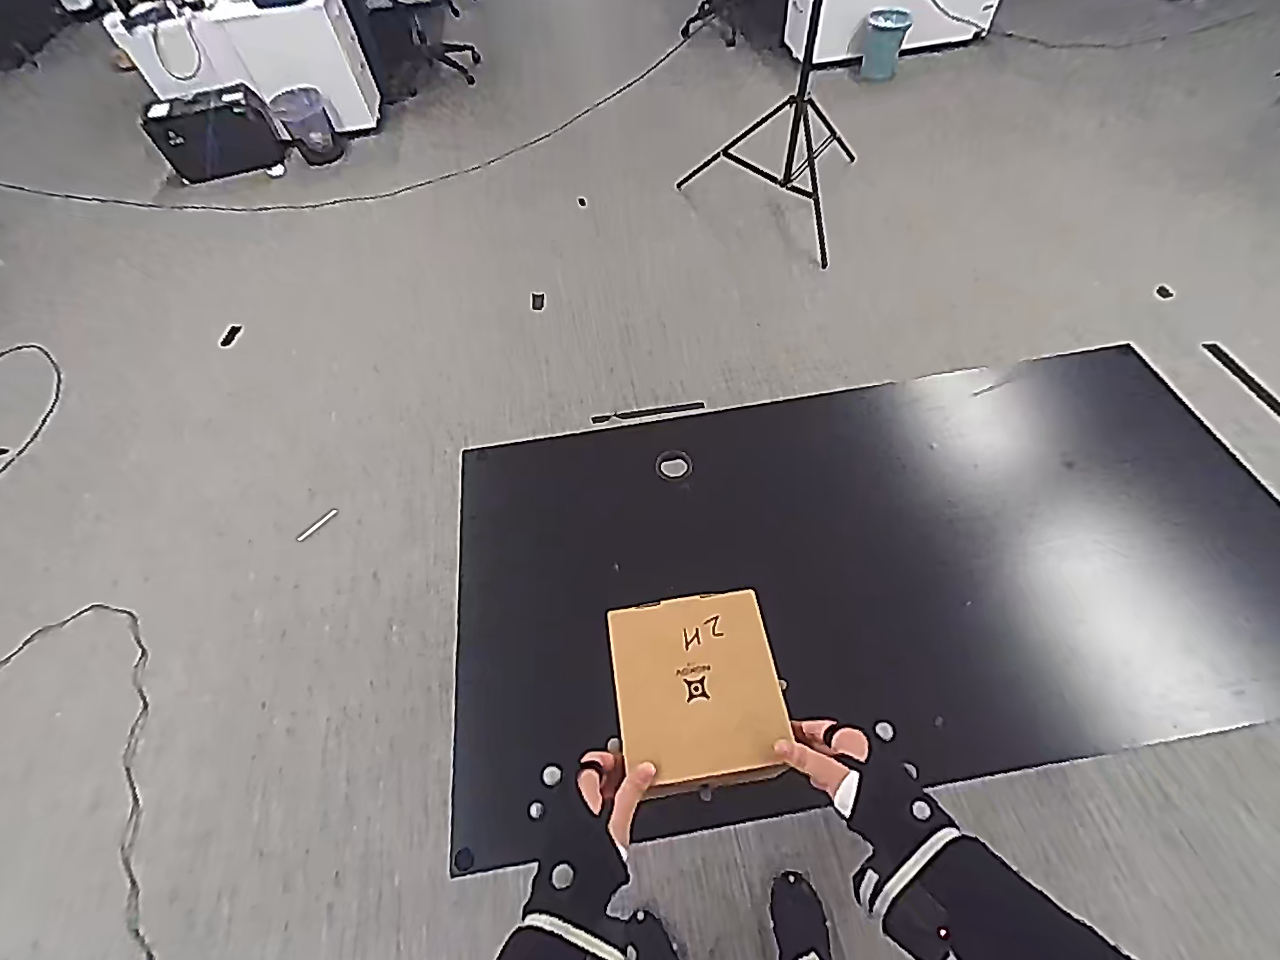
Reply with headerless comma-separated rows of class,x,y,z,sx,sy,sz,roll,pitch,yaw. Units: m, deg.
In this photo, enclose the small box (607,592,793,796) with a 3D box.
small box,0.061,0.251,0.617,0.168,0.176,0.179,-9,56,-2
